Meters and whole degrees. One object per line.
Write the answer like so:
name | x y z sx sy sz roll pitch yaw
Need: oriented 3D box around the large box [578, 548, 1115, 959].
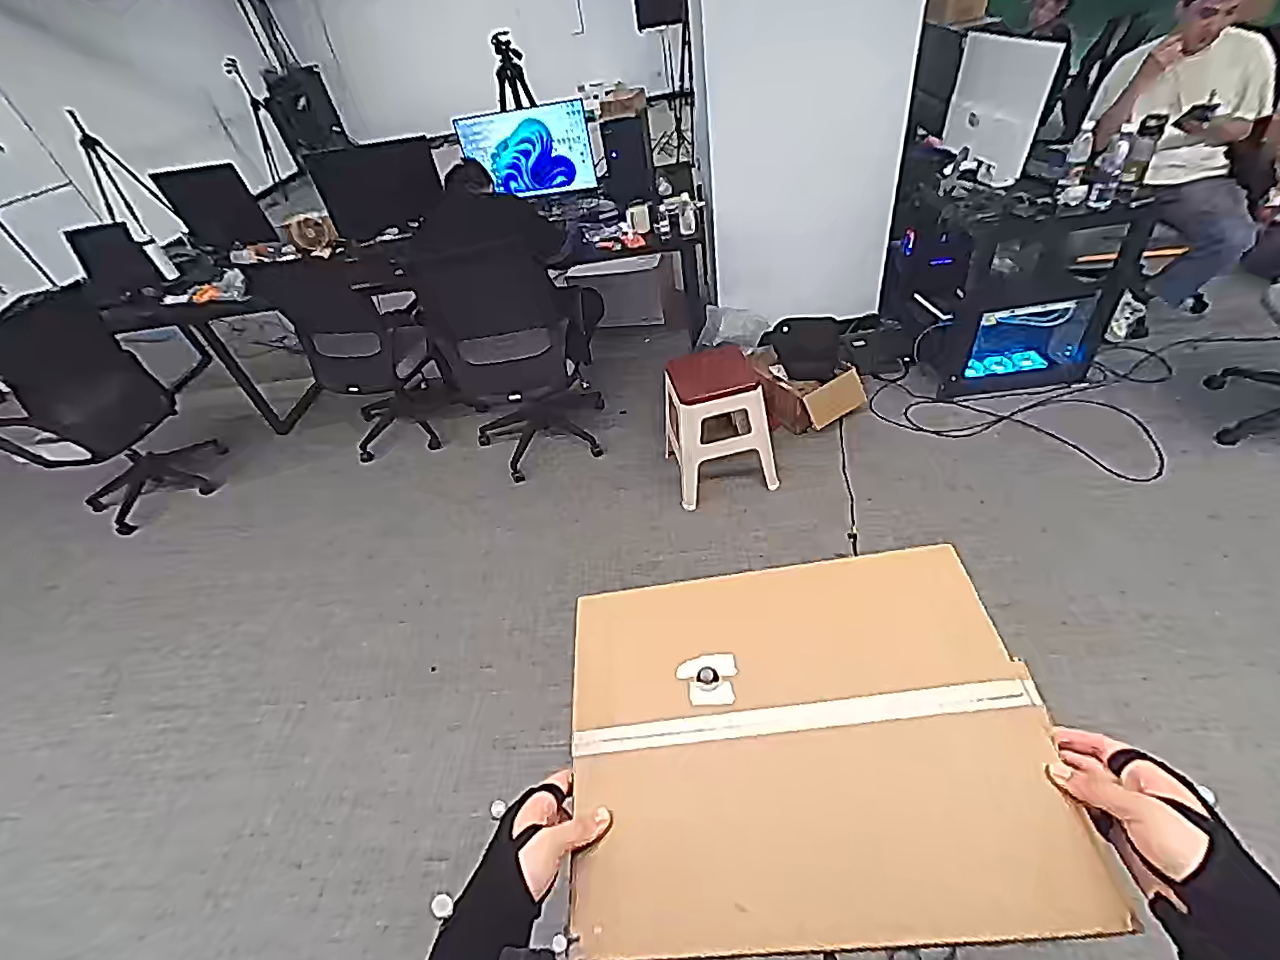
large box | 0.170 0.318 0.610 0.408 0.320 0.320 -11 47 8
